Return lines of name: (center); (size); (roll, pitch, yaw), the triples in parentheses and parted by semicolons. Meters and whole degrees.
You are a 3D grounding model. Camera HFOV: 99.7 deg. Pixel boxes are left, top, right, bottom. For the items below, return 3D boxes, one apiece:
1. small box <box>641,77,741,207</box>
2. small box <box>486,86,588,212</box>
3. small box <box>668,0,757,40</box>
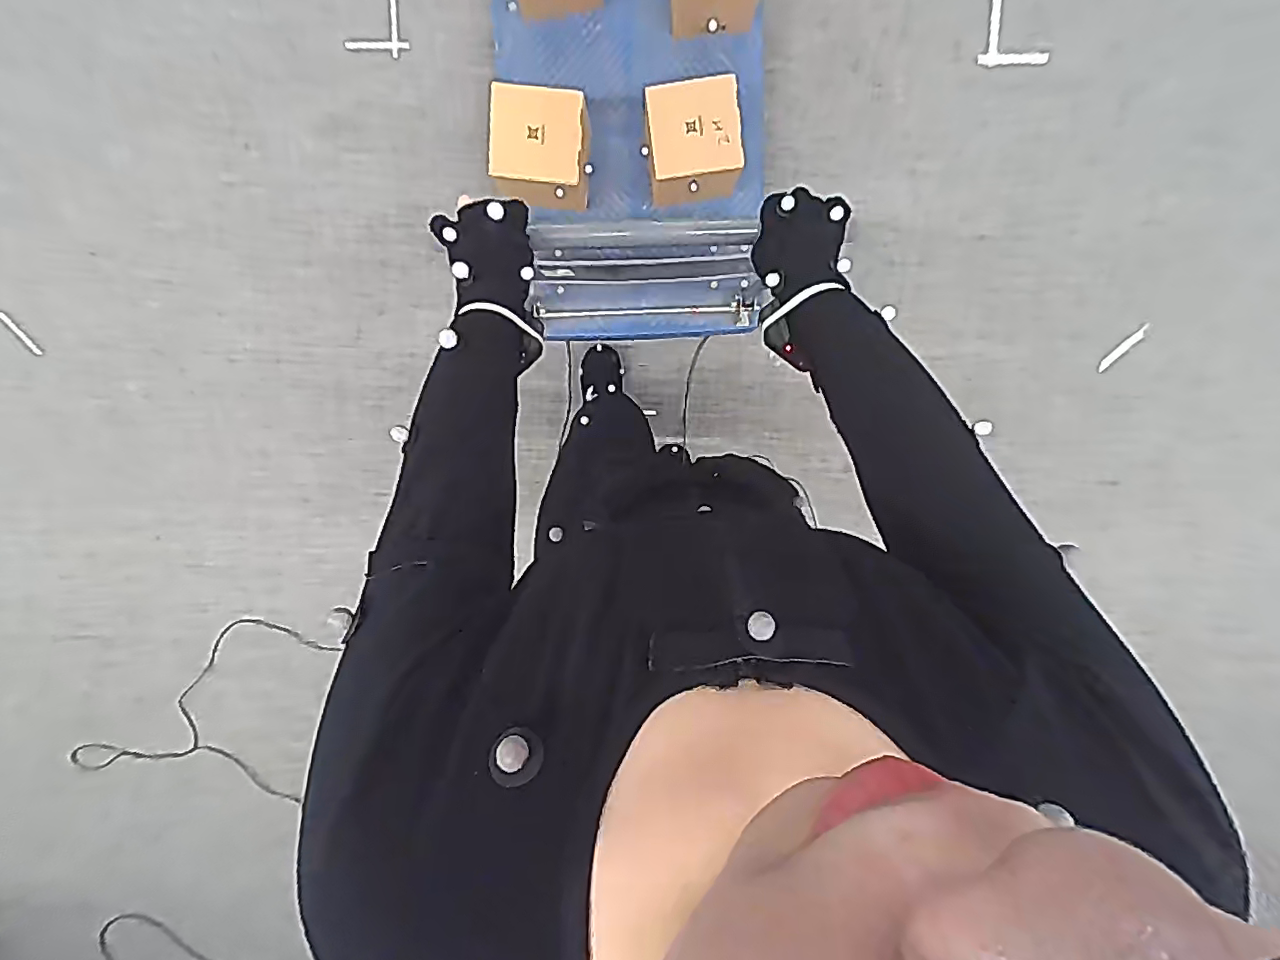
small box: (0.100, -0.678, 1.105); (0.179, 0.176, 0.168); (-8, 100, 1)
small box: (-0.205, -0.666, 1.108); (0.179, 0.176, 0.168); (4, 99, -2)
small box: (0.139, -1.009, 1.050); (0.168, 0.176, 0.179); (-6, 100, 1)
